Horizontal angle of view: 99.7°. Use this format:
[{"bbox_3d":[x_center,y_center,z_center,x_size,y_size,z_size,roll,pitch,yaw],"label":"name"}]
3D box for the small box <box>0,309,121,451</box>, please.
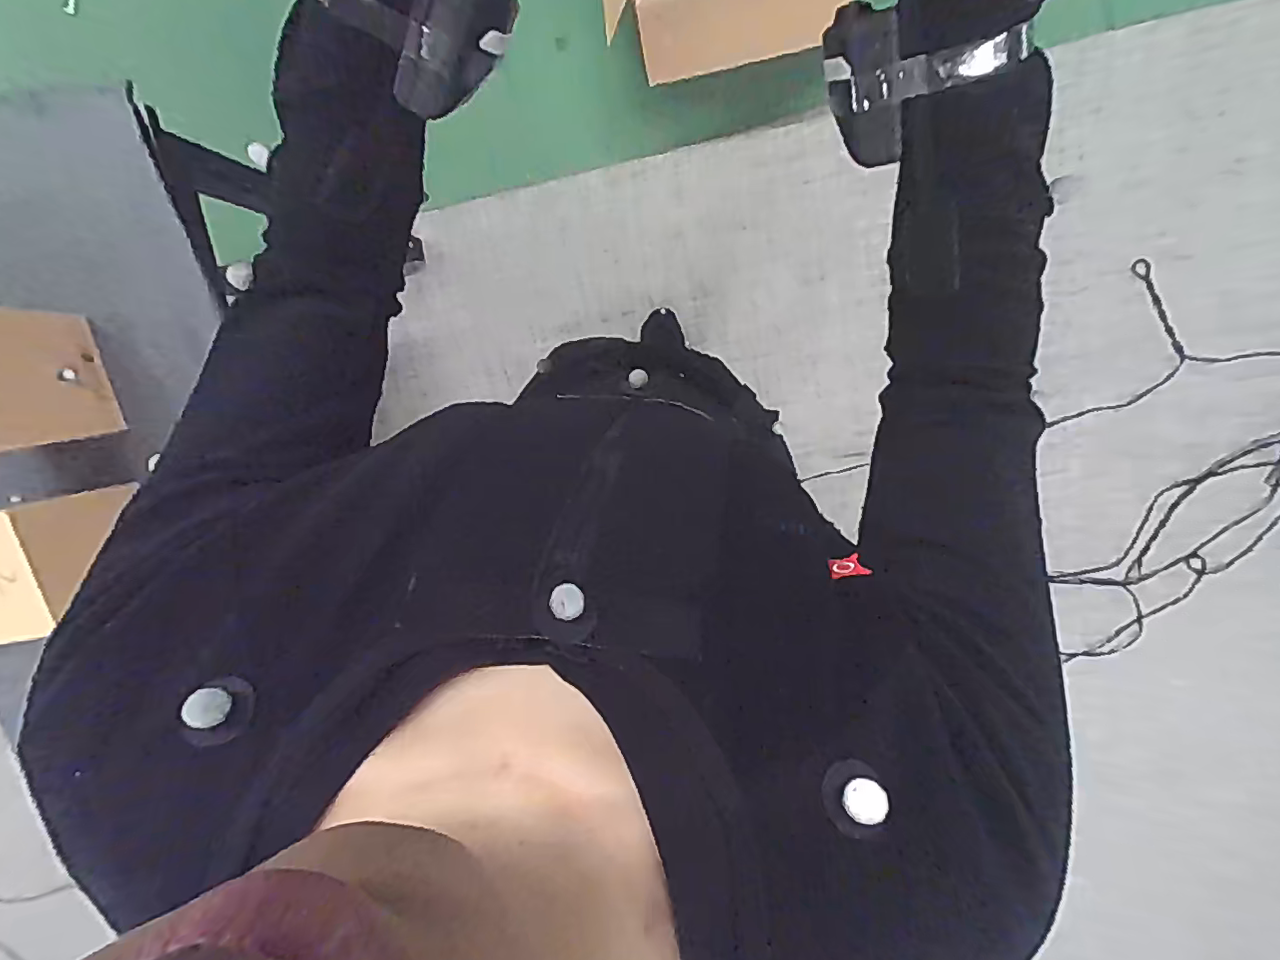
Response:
[{"bbox_3d":[-0.850,-0.122,0.700,0.179,0.176,0.168,-9,102,7],"label":"small box"}]
